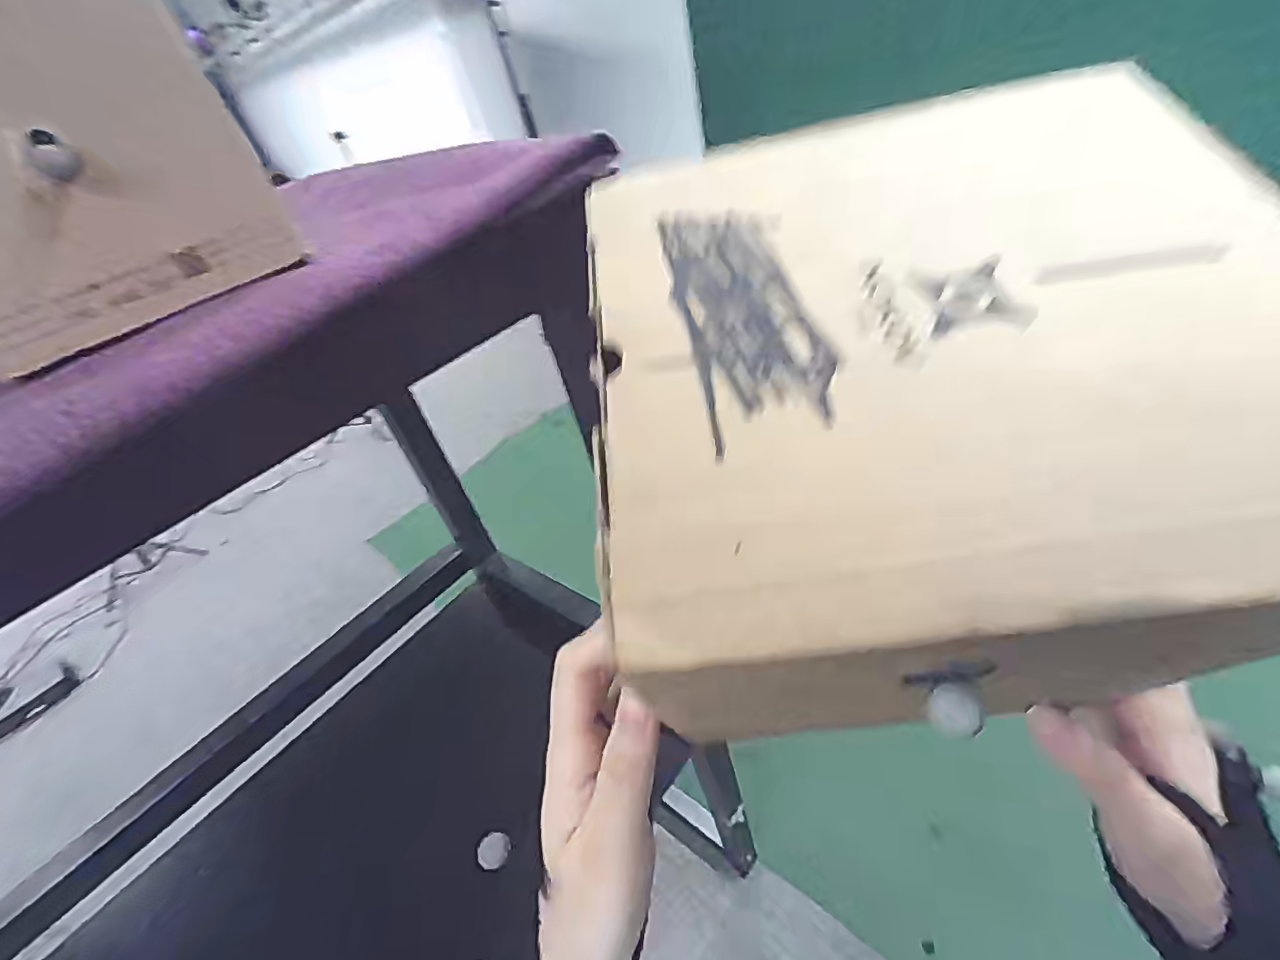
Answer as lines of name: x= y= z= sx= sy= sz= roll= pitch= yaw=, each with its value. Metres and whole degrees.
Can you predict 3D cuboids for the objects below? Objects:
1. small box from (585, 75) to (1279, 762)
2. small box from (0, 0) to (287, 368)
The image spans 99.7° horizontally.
small box: x=0.087 y=0.001 z=0.198 sx=0.179 sy=0.176 sz=0.168 roll=-9 pitch=58 yaw=7
small box: x=-0.341 y=-0.182 z=0.307 sx=0.168 sy=0.176 sz=0.179 roll=-40 pitch=41 yaw=-25
